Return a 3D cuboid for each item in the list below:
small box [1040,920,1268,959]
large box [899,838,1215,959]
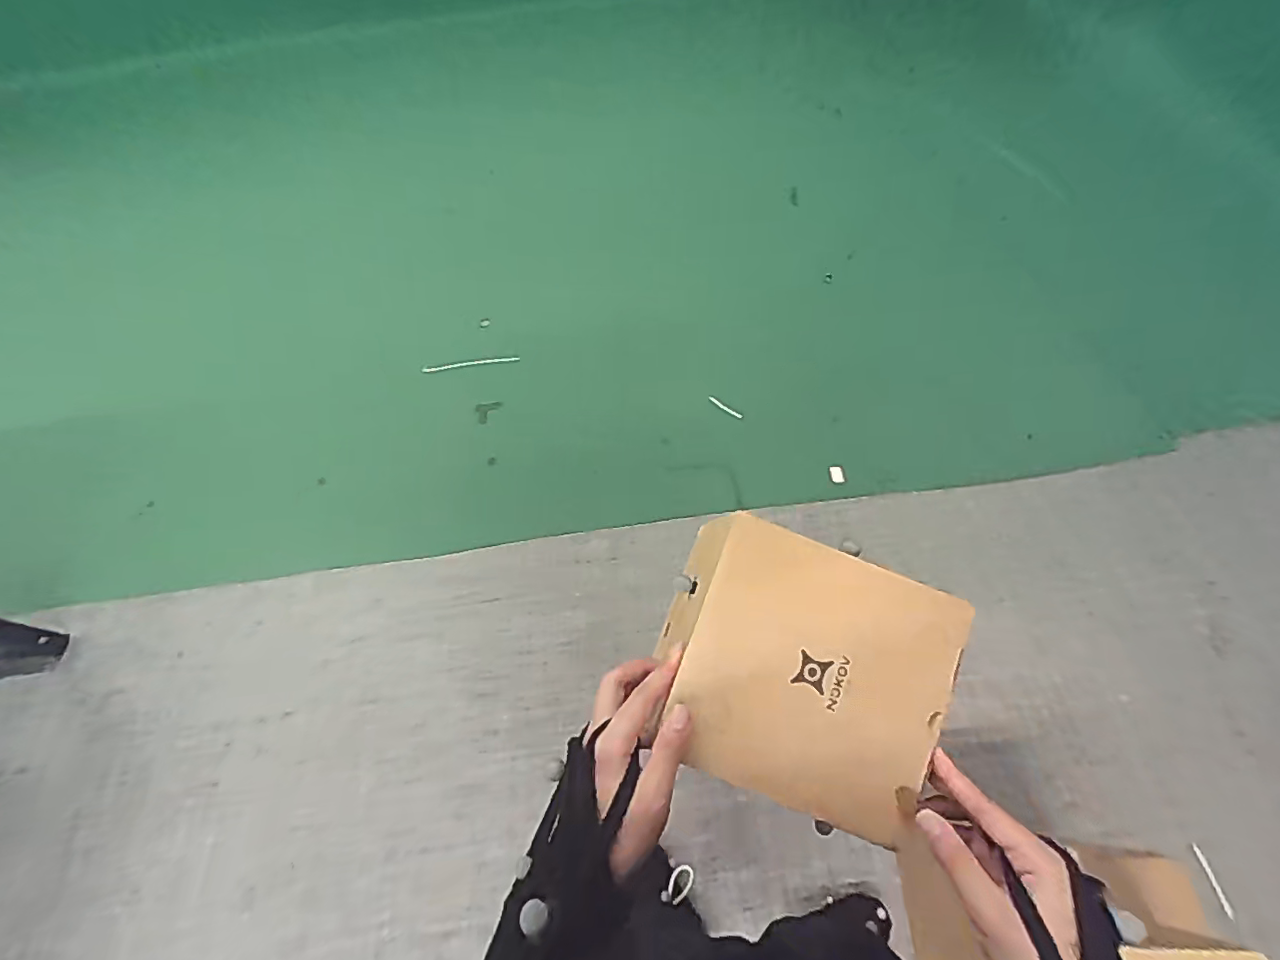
[{"bbox_3d":[0.629,0.651,0.640,0.168,0.176,0.179,-1,59,2],"label":"small box"},{"bbox_3d":[0.650,0.807,0.831,0.320,0.320,0.408,-3,61,3],"label":"large box"}]
